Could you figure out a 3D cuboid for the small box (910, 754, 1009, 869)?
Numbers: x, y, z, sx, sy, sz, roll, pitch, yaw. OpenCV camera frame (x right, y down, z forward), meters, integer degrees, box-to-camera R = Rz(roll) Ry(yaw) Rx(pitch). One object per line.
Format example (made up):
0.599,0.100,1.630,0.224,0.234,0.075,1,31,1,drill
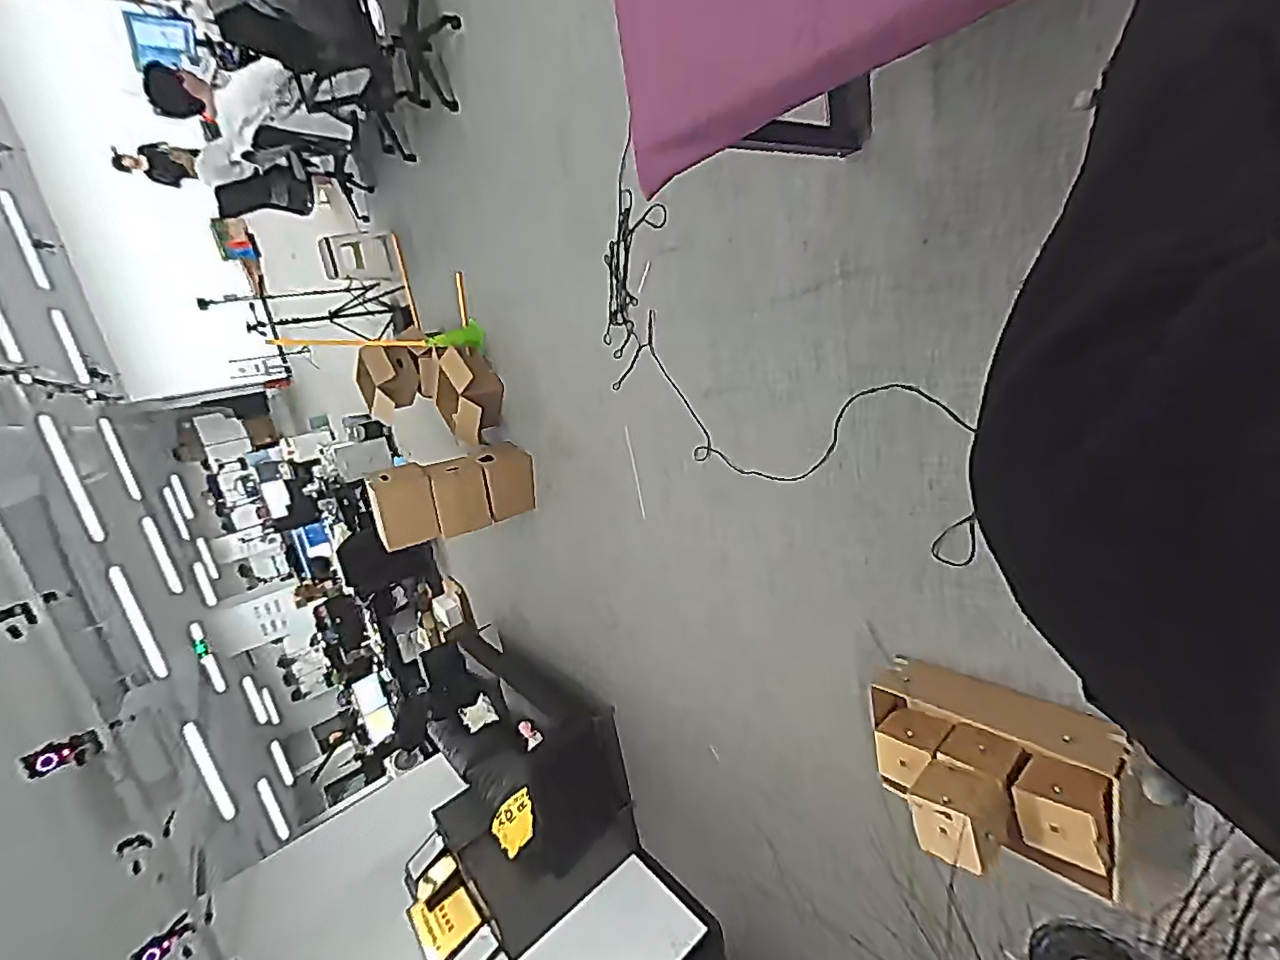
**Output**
0.878,0.896,1.479,0.168,0.176,0.179,-8,100,54,small box
